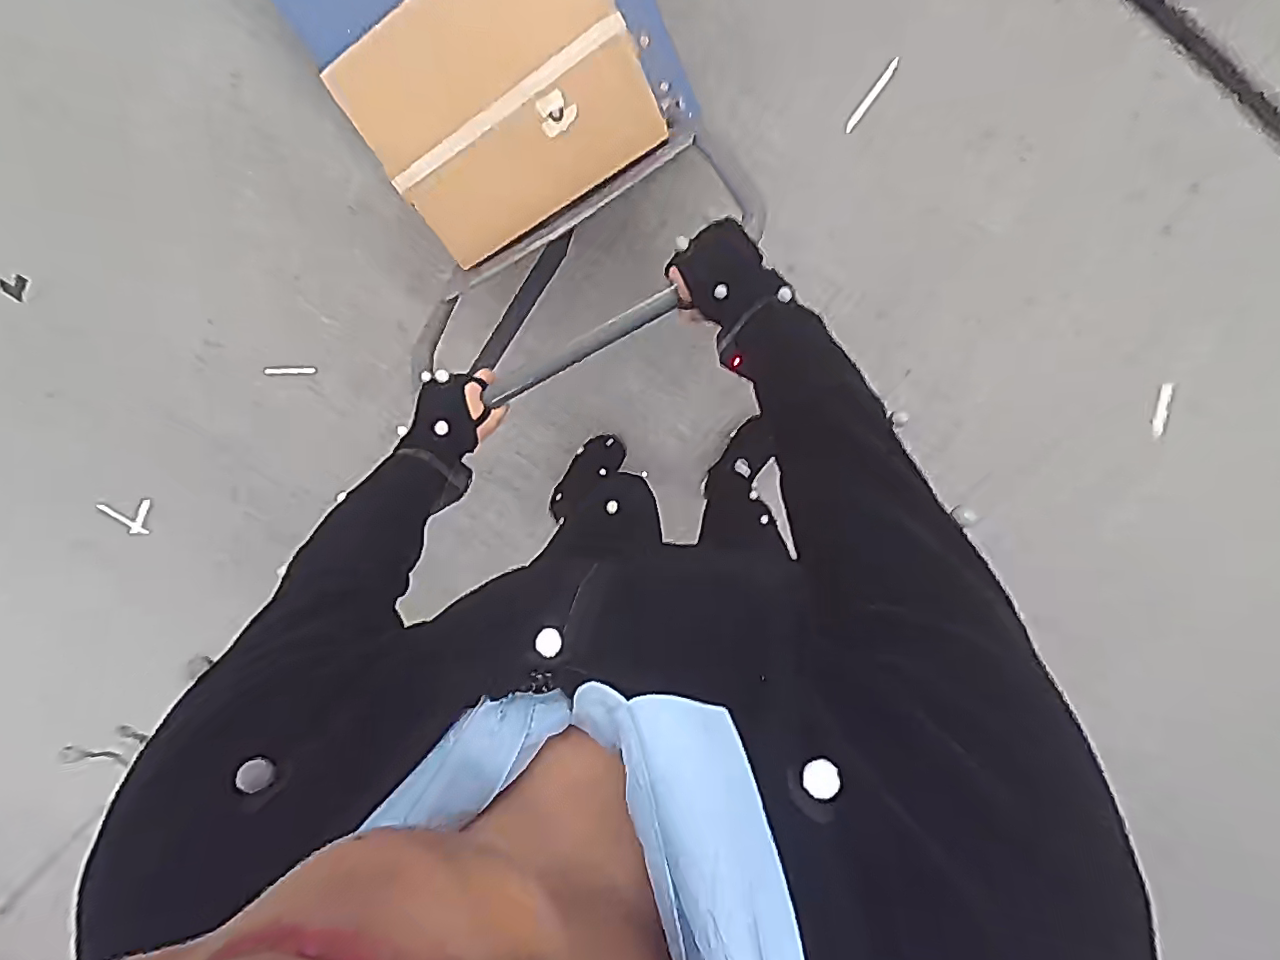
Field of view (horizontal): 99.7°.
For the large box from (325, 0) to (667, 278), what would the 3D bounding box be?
[{"bbox_3d":[-0.211,-0.616,0.908,0.408,0.320,0.320,-27,124,14],"label":"large box"}]
